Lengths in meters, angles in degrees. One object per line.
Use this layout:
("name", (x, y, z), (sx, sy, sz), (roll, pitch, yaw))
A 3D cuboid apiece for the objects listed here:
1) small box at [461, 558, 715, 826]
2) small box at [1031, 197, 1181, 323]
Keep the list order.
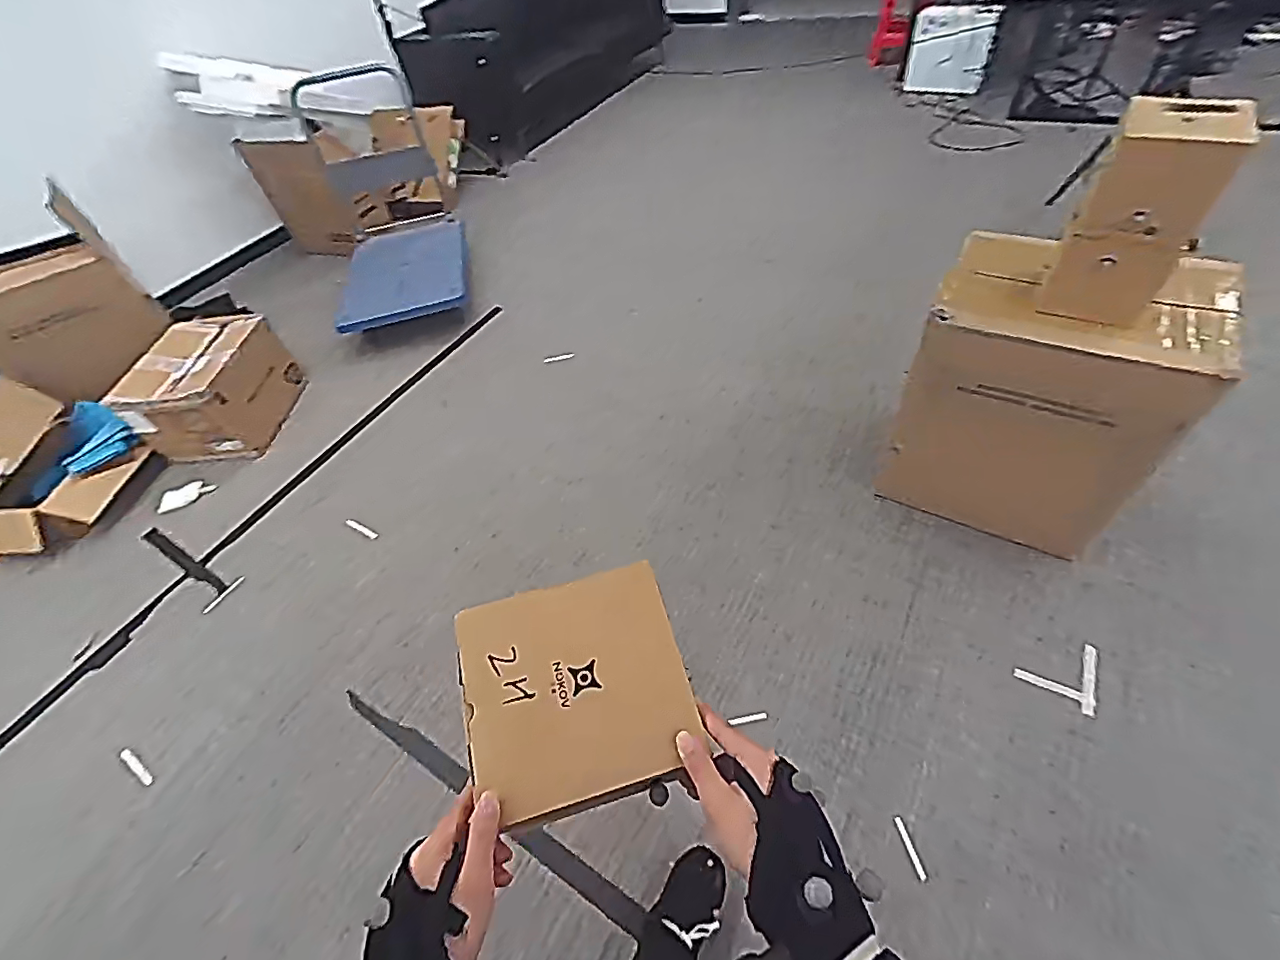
("small box", (-0.047, 0.196, 0.496), (0.179, 0.176, 0.168), (-14, 58, -7))
("small box", (0.919, -0.436, 1.079), (0.179, 0.176, 0.168), (22, 58, 25))
